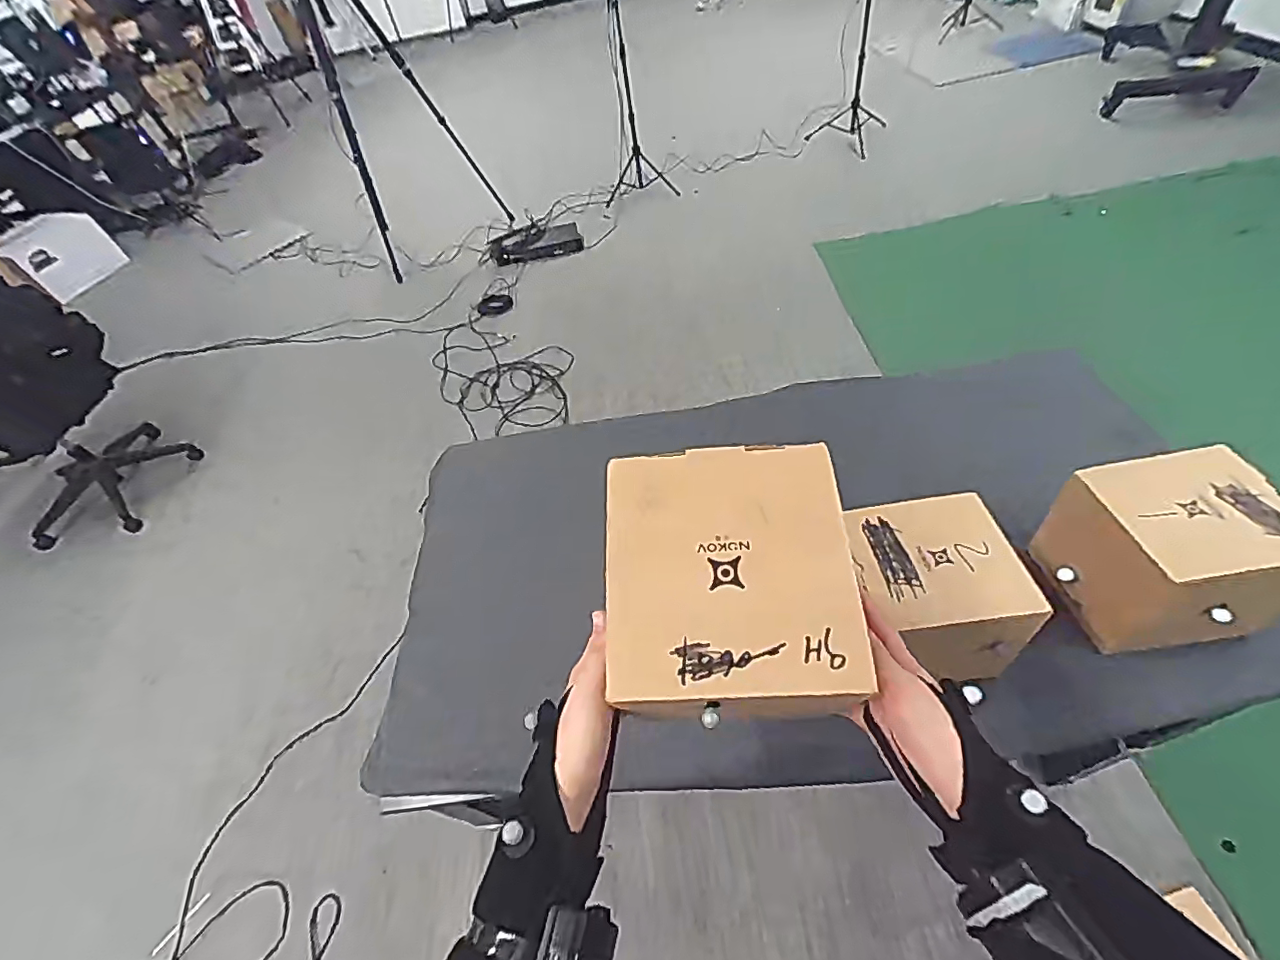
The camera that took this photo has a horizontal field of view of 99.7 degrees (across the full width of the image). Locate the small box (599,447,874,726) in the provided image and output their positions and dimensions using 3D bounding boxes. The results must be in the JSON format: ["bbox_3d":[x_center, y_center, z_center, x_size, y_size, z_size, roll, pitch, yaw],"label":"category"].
[{"bbox_3d":[0.065,0.093,0.430,0.168,0.176,0.179,-4,62,6],"label":"small box"}]

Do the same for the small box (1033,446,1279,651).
[{"bbox_3d":[0.627,0.086,0.648,0.179,0.176,0.168,-10,46,5],"label":"small box"}]

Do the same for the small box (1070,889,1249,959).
[{"bbox_3d":[0.914,0.837,0.938,0.168,0.176,0.179,-16,50,-2],"label":"small box"}]
